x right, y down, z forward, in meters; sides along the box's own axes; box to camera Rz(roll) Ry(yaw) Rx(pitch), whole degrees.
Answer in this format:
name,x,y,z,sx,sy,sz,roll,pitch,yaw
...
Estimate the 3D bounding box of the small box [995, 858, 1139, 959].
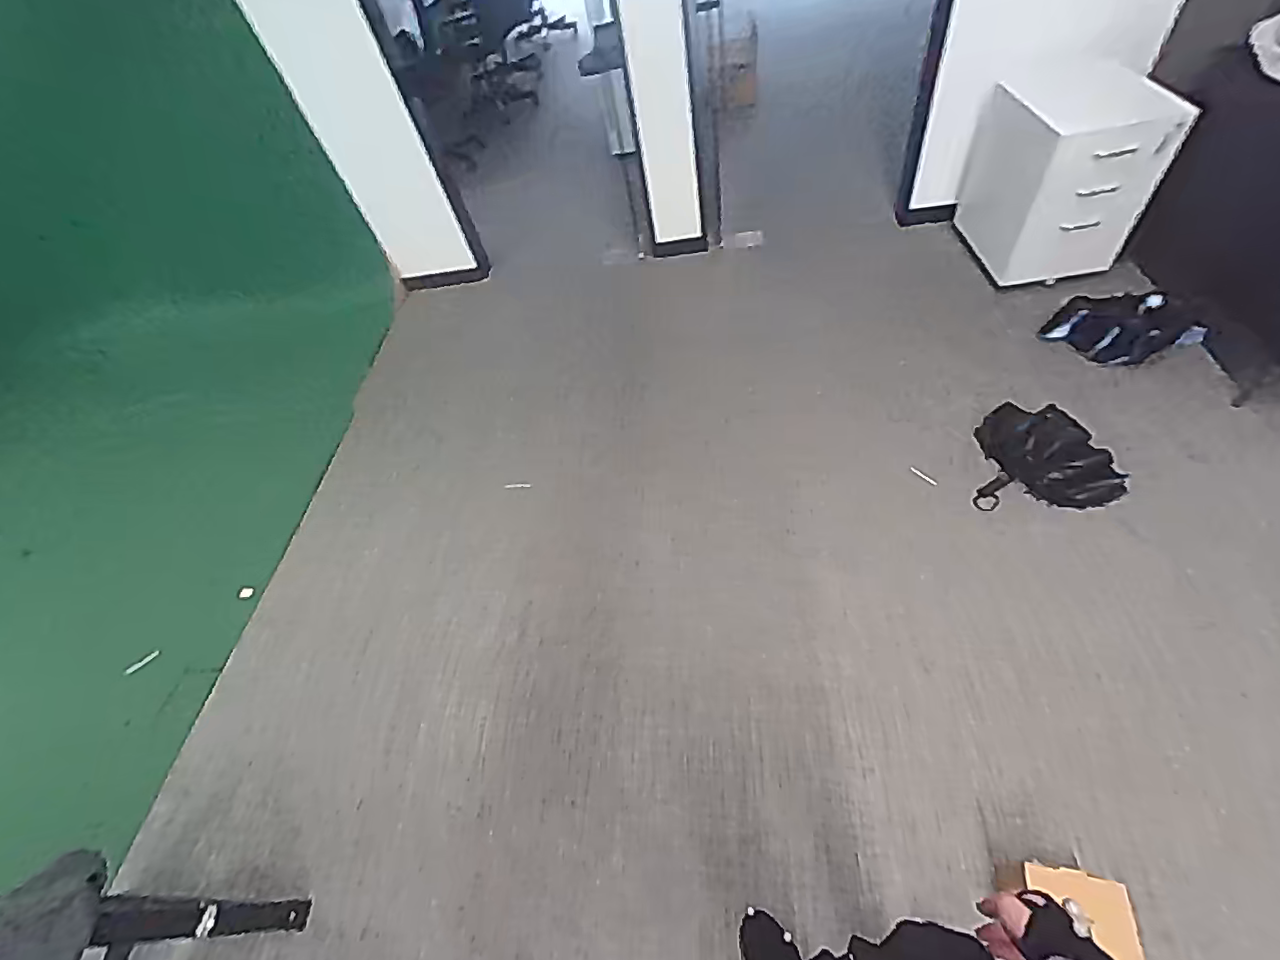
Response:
name,x,y,z,sx,sy,sz,roll,pitch,yaw
small box,0.809,0.853,1.040,0.168,0.176,0.179,3,55,16
